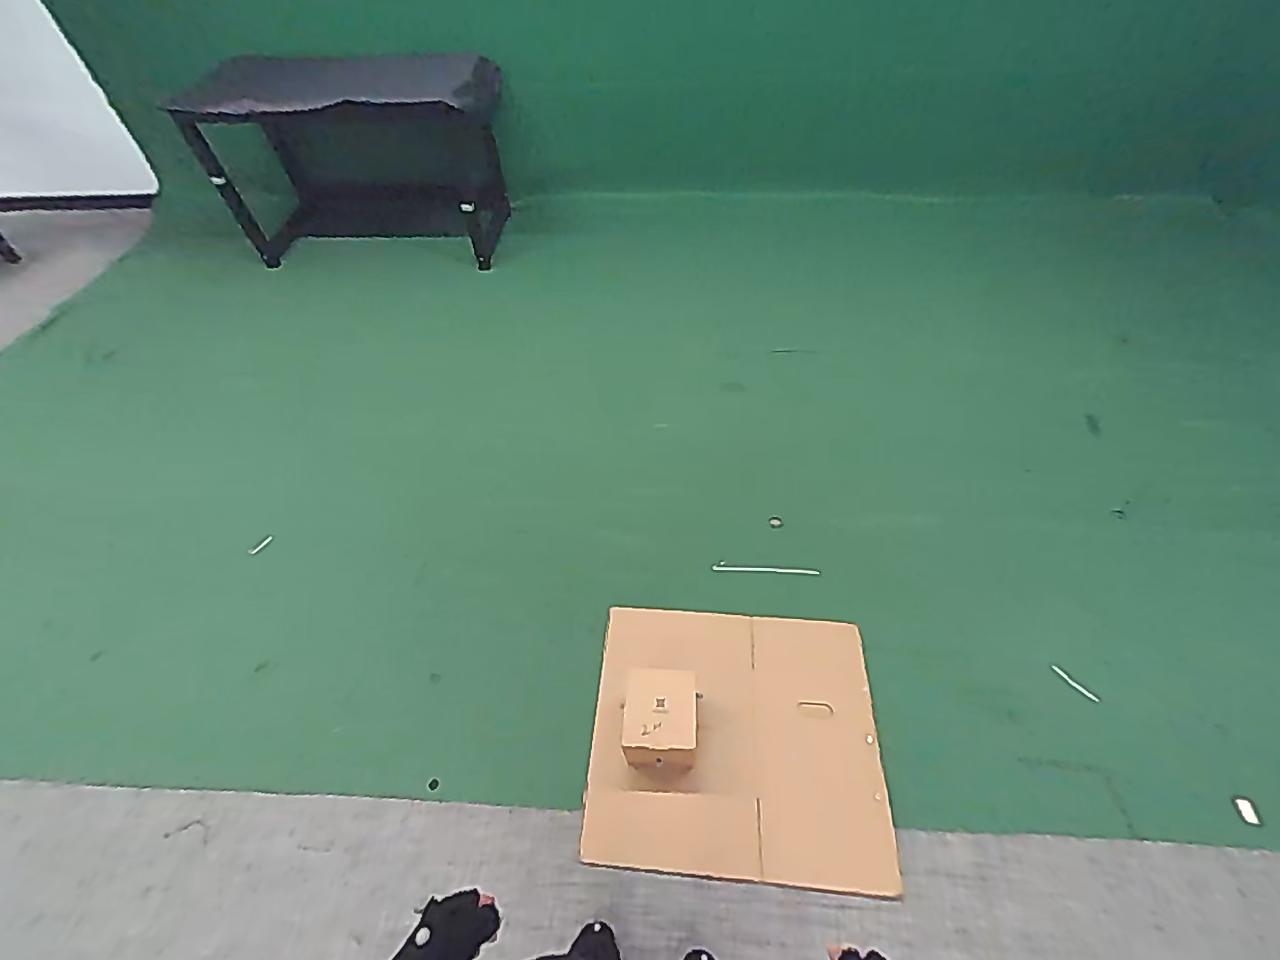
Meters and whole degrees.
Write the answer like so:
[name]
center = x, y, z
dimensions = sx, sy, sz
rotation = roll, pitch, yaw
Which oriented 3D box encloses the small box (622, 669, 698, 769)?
[small box]
center = 0.052, 0.568, 1.285
dimensions = 0.168, 0.176, 0.179
rotation = 1, 51, 5
